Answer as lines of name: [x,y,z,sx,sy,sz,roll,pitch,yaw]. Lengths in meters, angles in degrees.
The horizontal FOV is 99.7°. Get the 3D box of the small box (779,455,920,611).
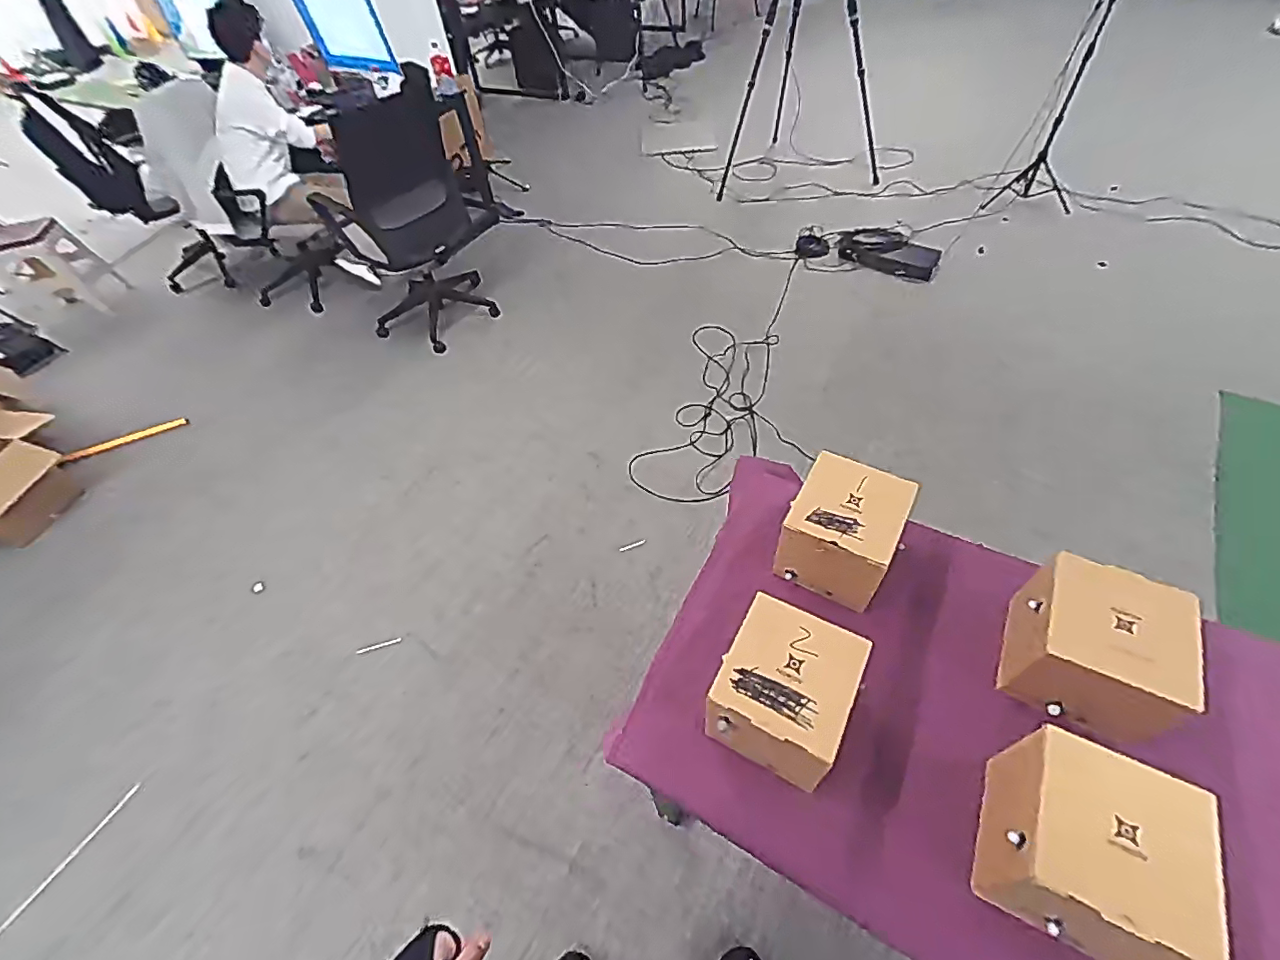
small box: [0.349,0.094,0.928,0.168,0.176,0.179,24,58,22]

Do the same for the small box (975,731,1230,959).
small box: [0.522,0.436,0.634,0.168,0.176,0.179,21,56,21]

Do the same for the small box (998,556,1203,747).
small box: [0.648,0.247,0.777,0.168,0.176,0.179,22,57,23]
